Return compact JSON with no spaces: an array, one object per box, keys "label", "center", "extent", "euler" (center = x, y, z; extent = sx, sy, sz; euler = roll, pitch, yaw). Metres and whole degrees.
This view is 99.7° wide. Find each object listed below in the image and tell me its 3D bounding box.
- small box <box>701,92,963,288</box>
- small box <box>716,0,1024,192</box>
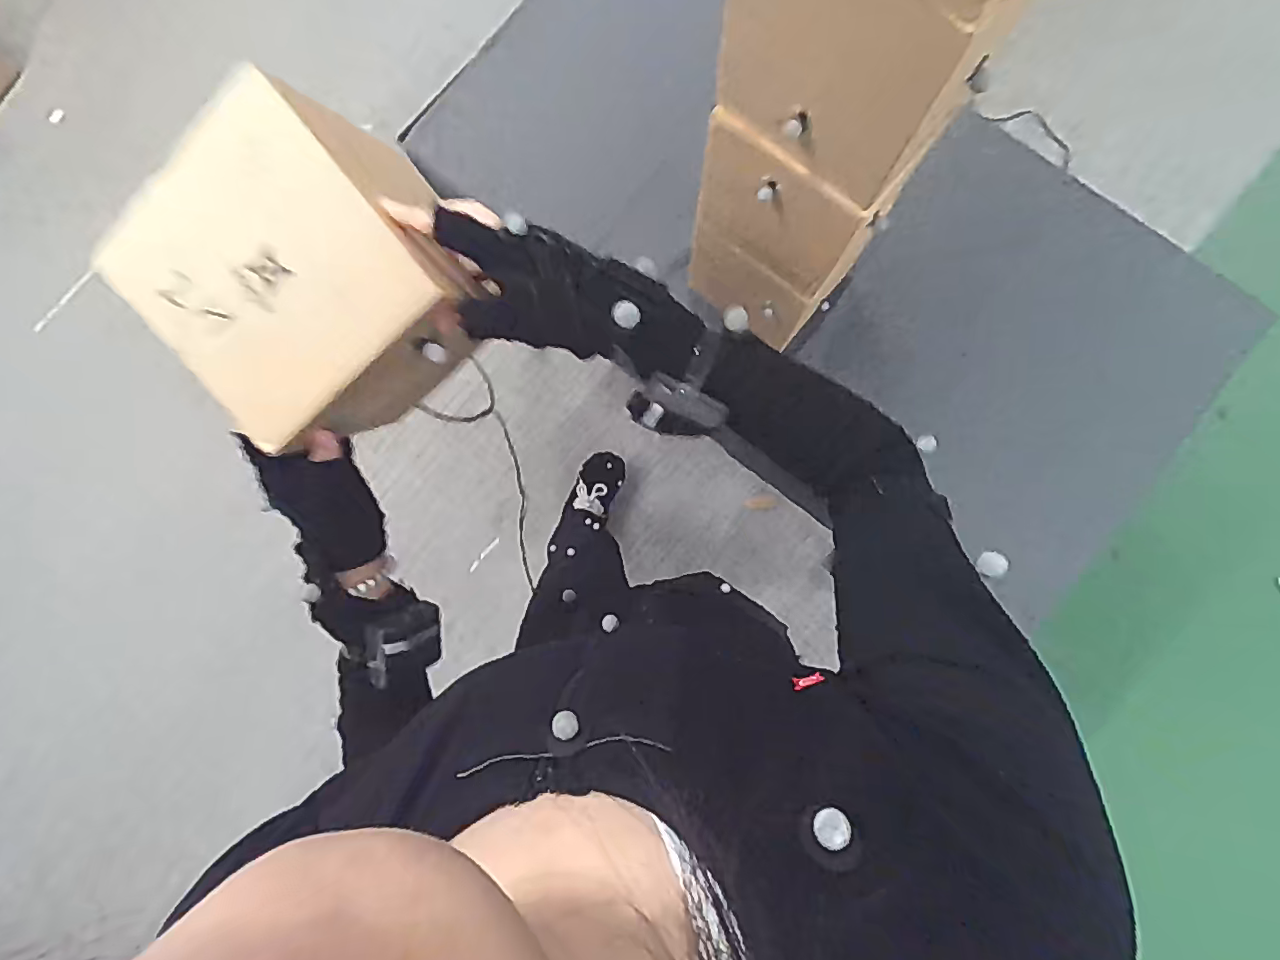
[{"label":"small box","center":[0.183,-0.336,0.576],"extent":[0.179,0.176,0.168],"euler":[38,85,6]},{"label":"small box","center":[0.180,-0.363,0.415],"extent":[0.179,0.176,0.168],"euler":[40,85,6]}]
